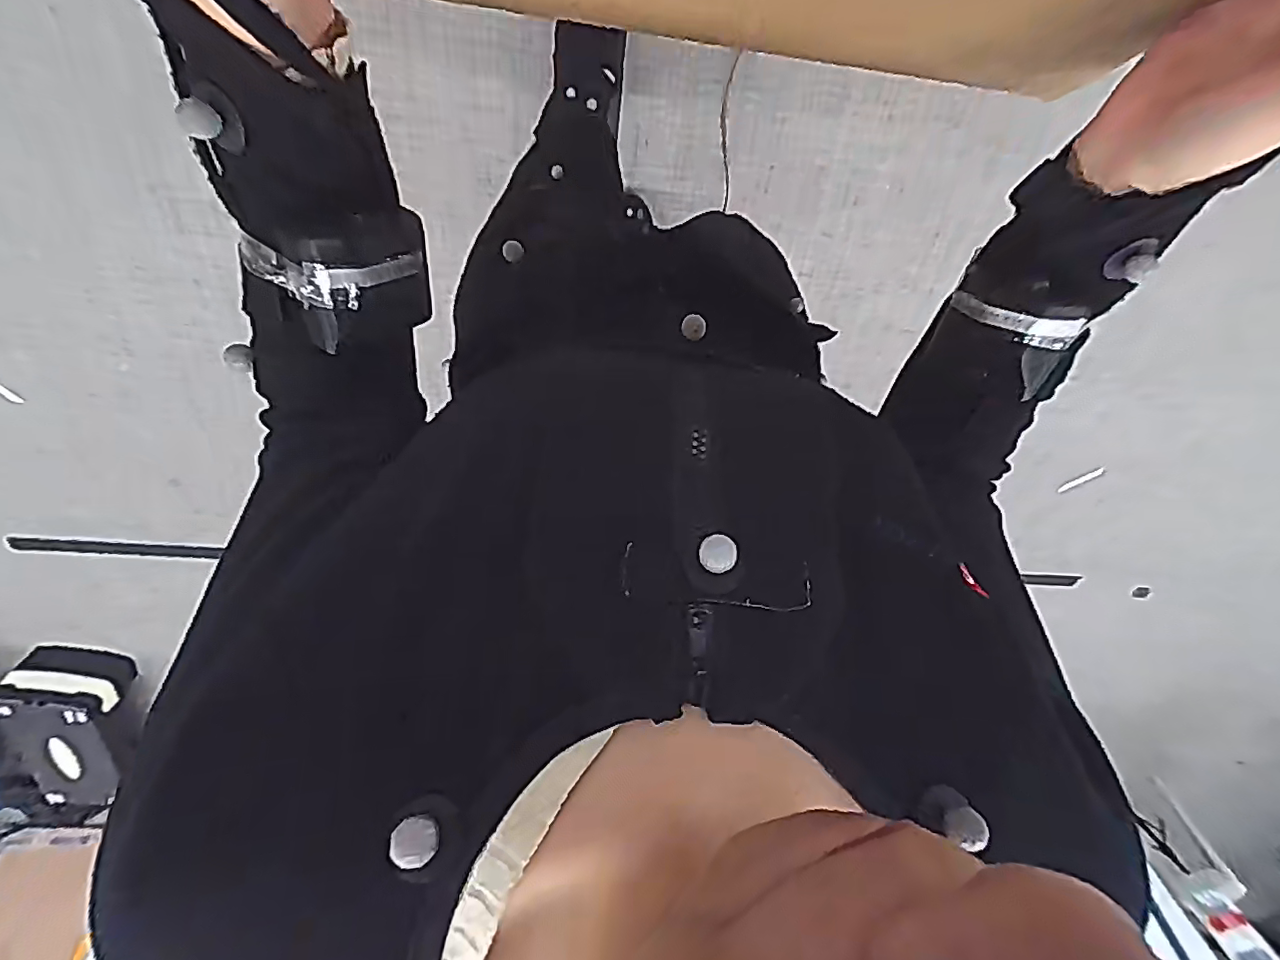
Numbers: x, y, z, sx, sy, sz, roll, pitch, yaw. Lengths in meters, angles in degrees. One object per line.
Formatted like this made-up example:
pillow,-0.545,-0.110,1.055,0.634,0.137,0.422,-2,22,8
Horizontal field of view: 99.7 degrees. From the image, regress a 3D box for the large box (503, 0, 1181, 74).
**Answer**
large box,0.067,-0.362,0.122,0.408,0.320,0.320,3,104,-6
